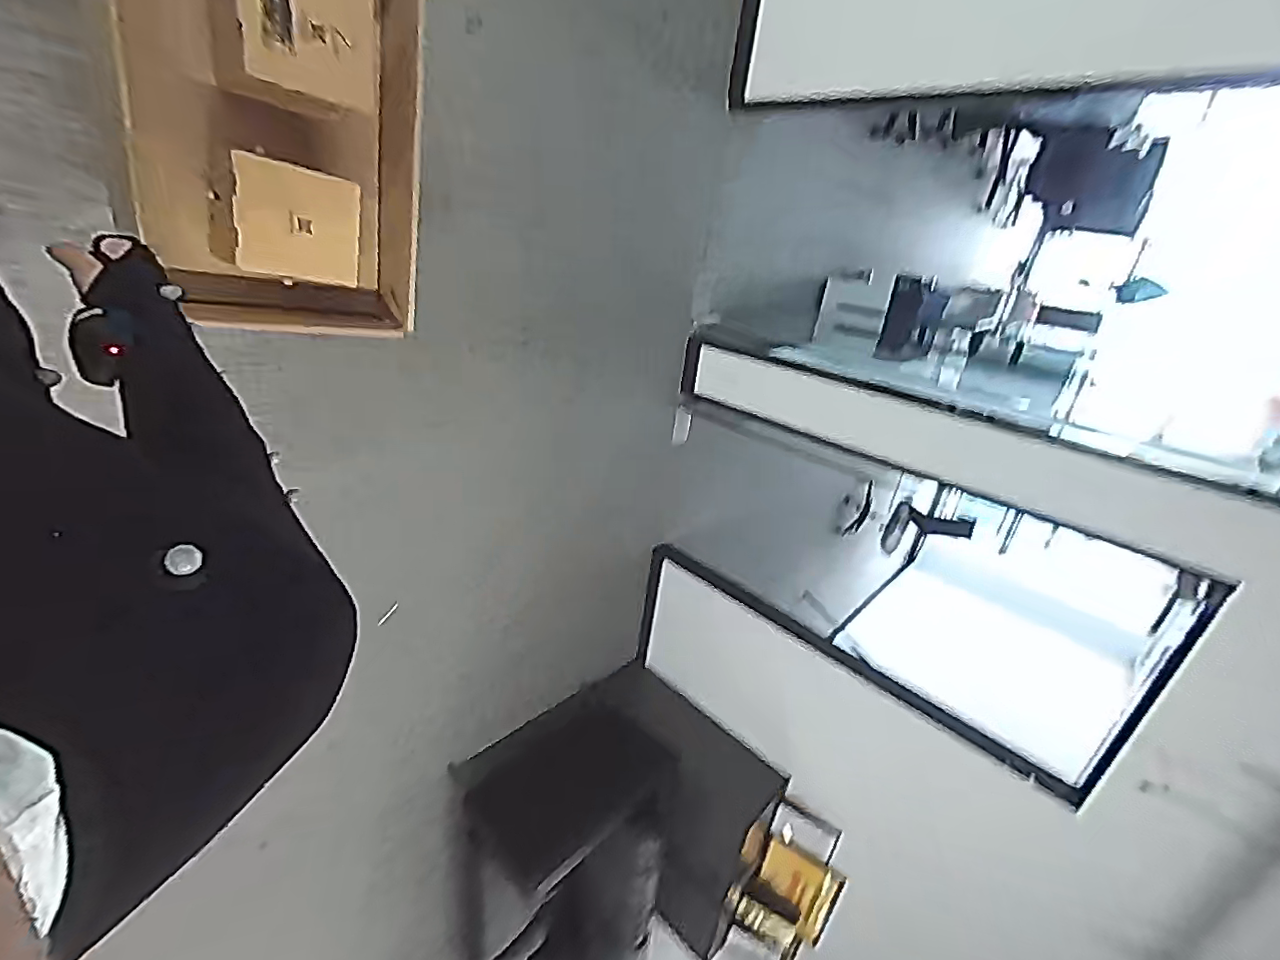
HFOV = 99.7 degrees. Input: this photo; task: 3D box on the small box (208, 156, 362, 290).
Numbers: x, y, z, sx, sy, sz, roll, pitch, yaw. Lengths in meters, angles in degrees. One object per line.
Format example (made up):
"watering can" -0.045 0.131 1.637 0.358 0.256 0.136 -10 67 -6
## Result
"small box" -0.591 -0.427 0.901 0.179 0.176 0.168 -9 118 -46
